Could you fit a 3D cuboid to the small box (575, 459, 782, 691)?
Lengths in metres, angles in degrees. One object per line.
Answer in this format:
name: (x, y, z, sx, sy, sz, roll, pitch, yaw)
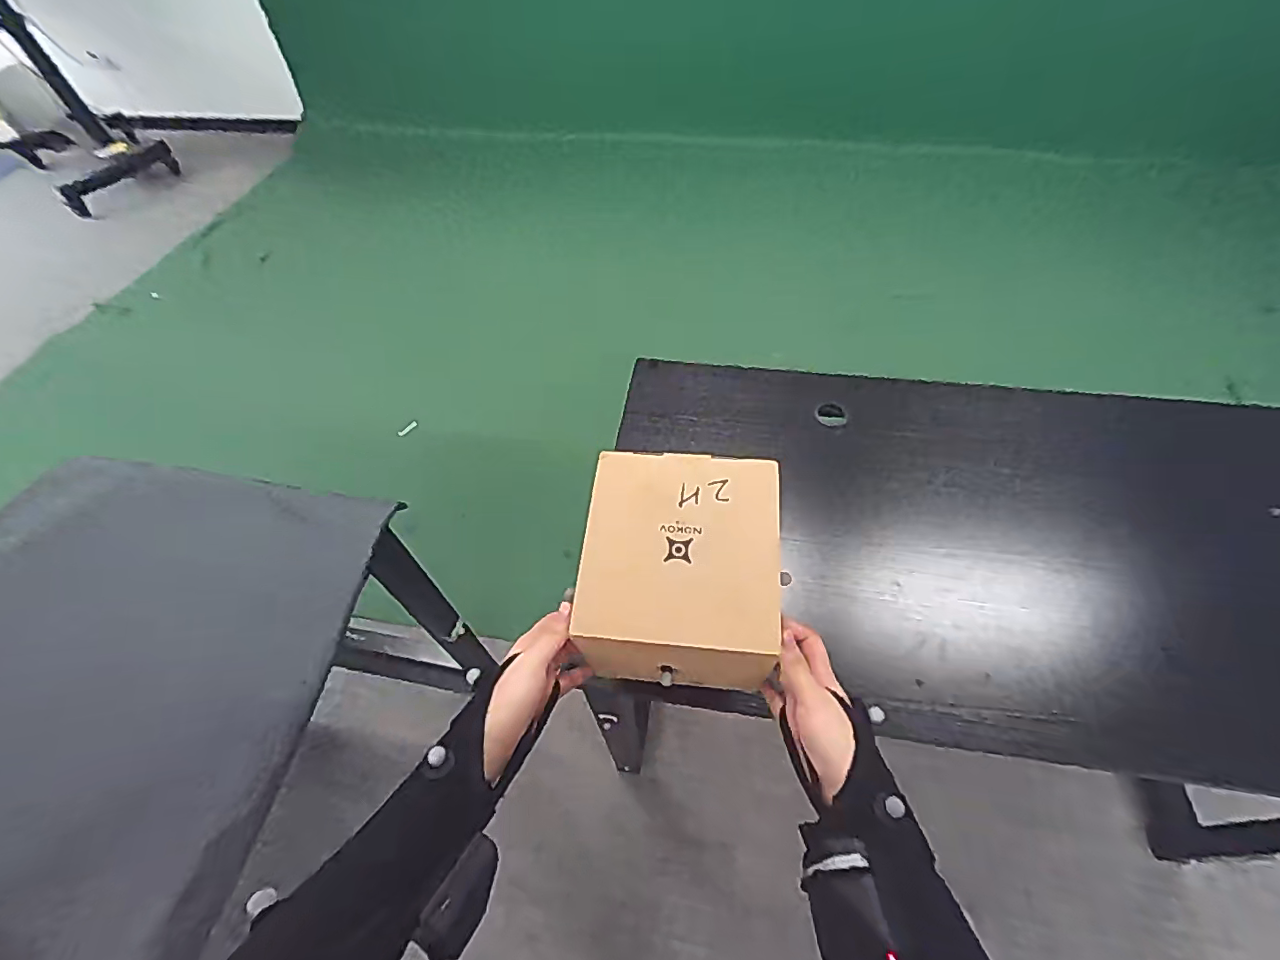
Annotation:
small box: (0.043, 0.099, 0.526, 0.168, 0.176, 0.179, 3, 60, 6)
